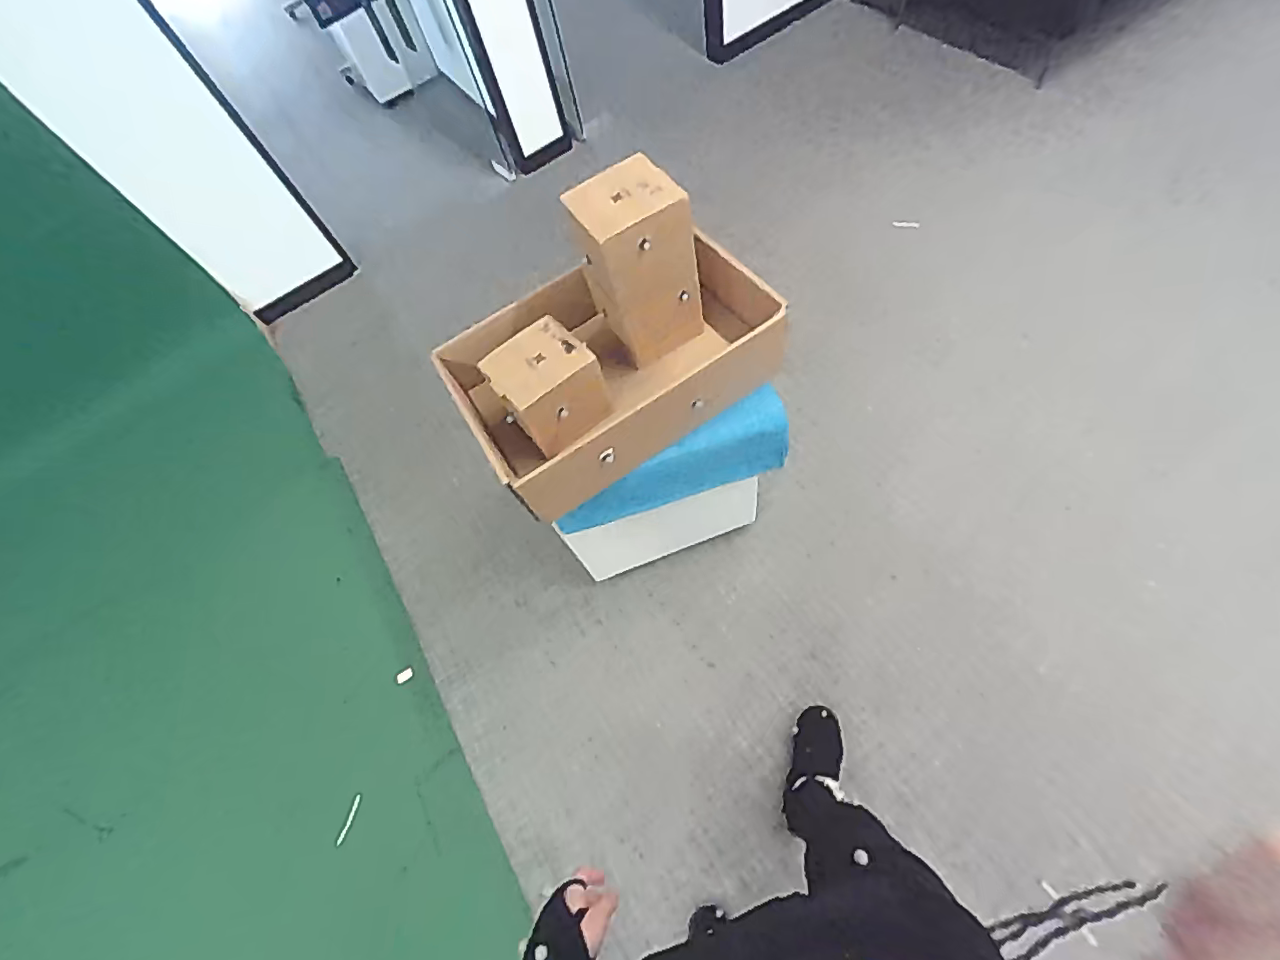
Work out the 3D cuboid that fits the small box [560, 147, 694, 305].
[{"bbox_3d":[-0.017,-0.457,0.991,0.179,0.176,0.168,-30,62,-5],"label":"small box"}]
